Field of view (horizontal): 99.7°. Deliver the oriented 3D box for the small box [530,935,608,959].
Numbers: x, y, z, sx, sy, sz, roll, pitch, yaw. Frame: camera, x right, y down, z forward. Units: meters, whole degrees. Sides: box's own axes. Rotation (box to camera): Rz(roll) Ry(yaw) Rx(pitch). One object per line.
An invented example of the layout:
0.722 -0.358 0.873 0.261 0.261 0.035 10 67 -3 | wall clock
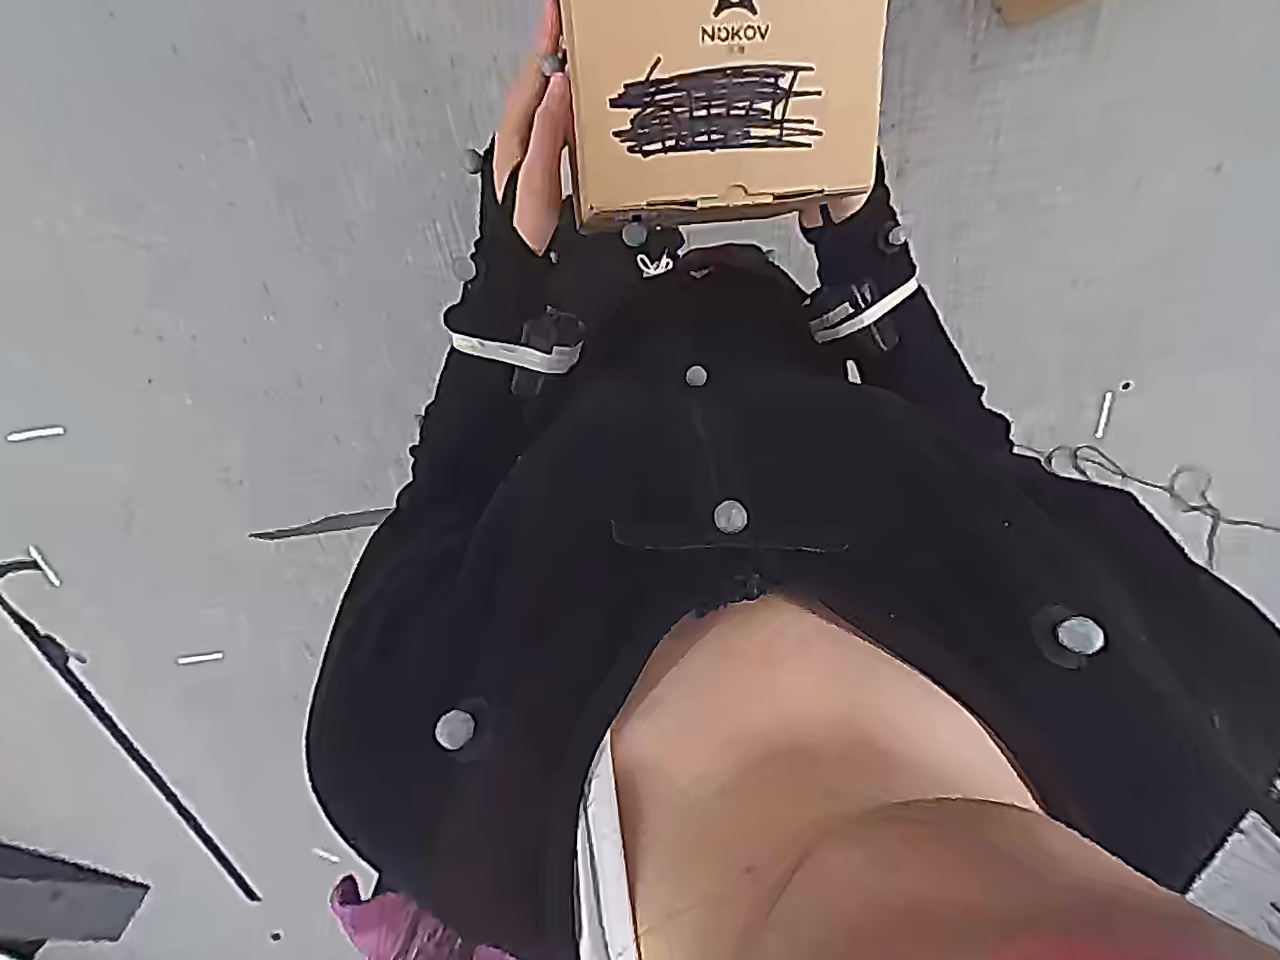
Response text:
-0.158 1.155 1.207 0.179 0.176 0.168 -7 114 2 | small box
